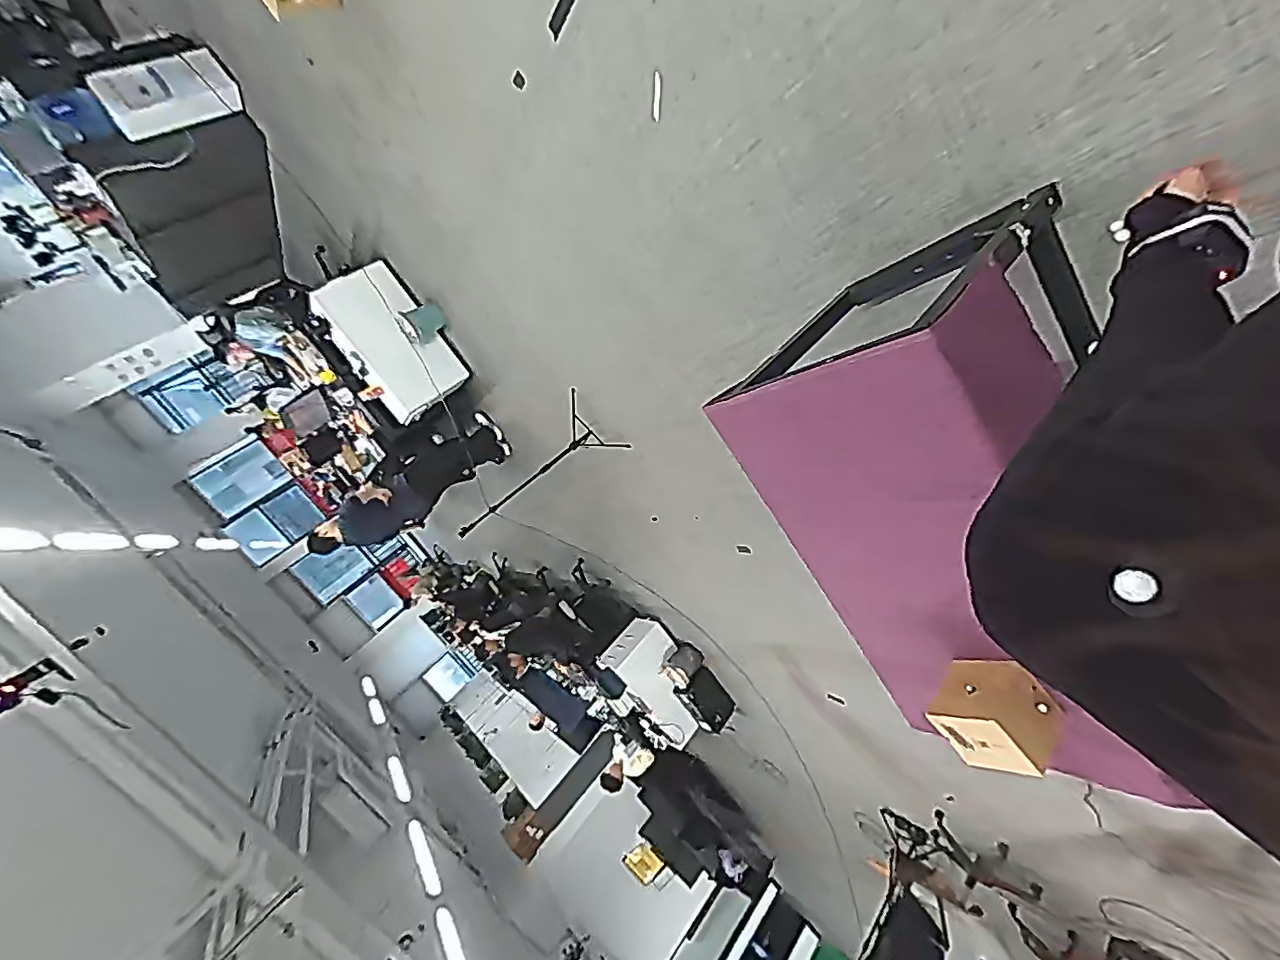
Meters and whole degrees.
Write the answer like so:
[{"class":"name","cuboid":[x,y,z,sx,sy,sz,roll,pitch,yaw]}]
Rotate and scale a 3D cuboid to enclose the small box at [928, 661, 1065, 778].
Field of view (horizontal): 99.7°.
[{"class":"small box","cuboid":[0.808,0.531,1.226,0.168,0.176,0.179,48,152,-2]}]
